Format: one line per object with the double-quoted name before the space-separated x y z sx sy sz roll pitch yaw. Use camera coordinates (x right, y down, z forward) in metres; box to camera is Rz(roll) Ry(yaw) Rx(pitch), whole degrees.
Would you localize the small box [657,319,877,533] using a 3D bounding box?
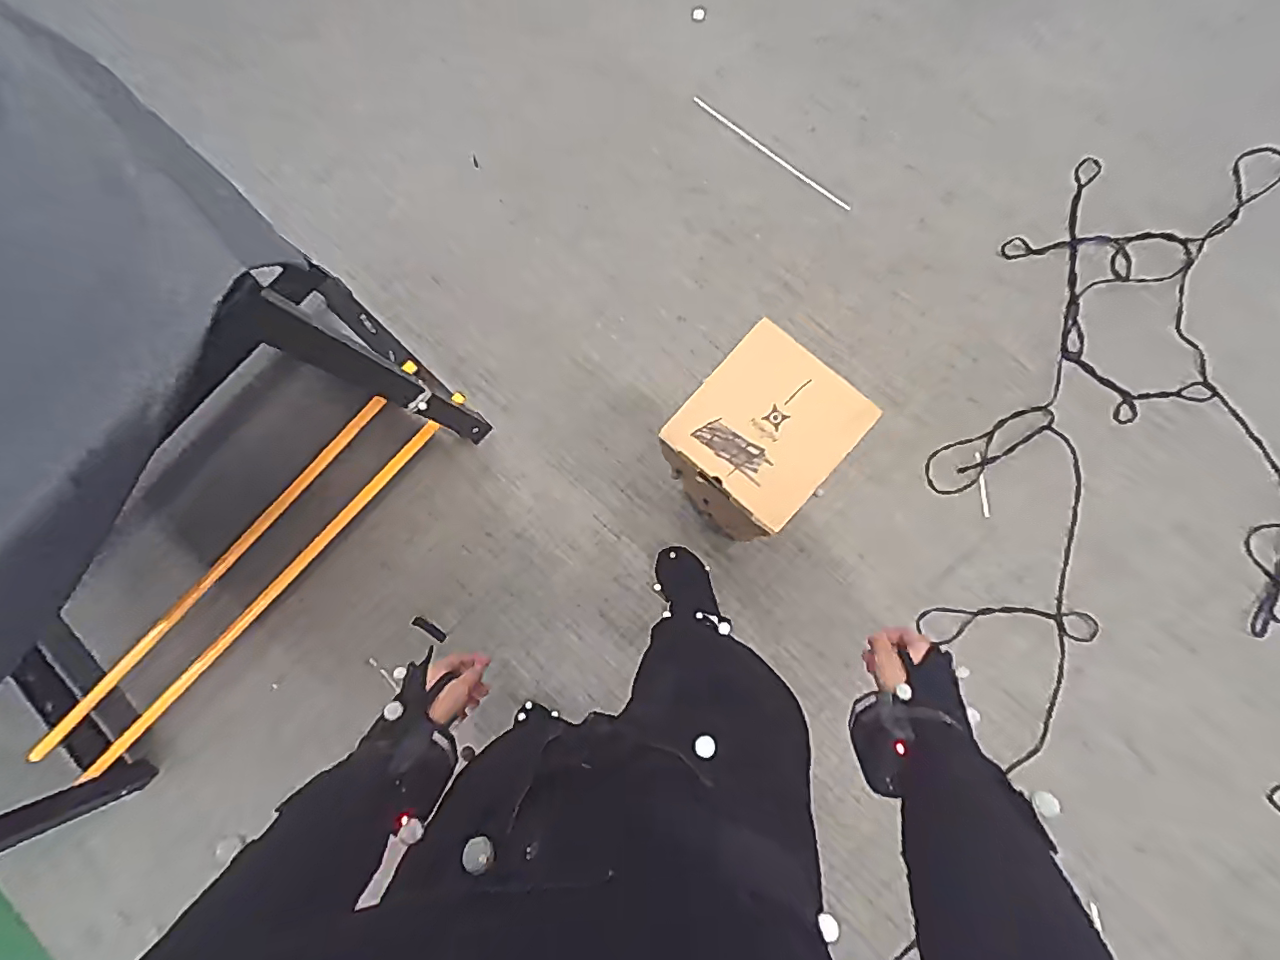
"small box" 0.140 -0.049 0.650 0.168 0.176 0.179 42 87 8
